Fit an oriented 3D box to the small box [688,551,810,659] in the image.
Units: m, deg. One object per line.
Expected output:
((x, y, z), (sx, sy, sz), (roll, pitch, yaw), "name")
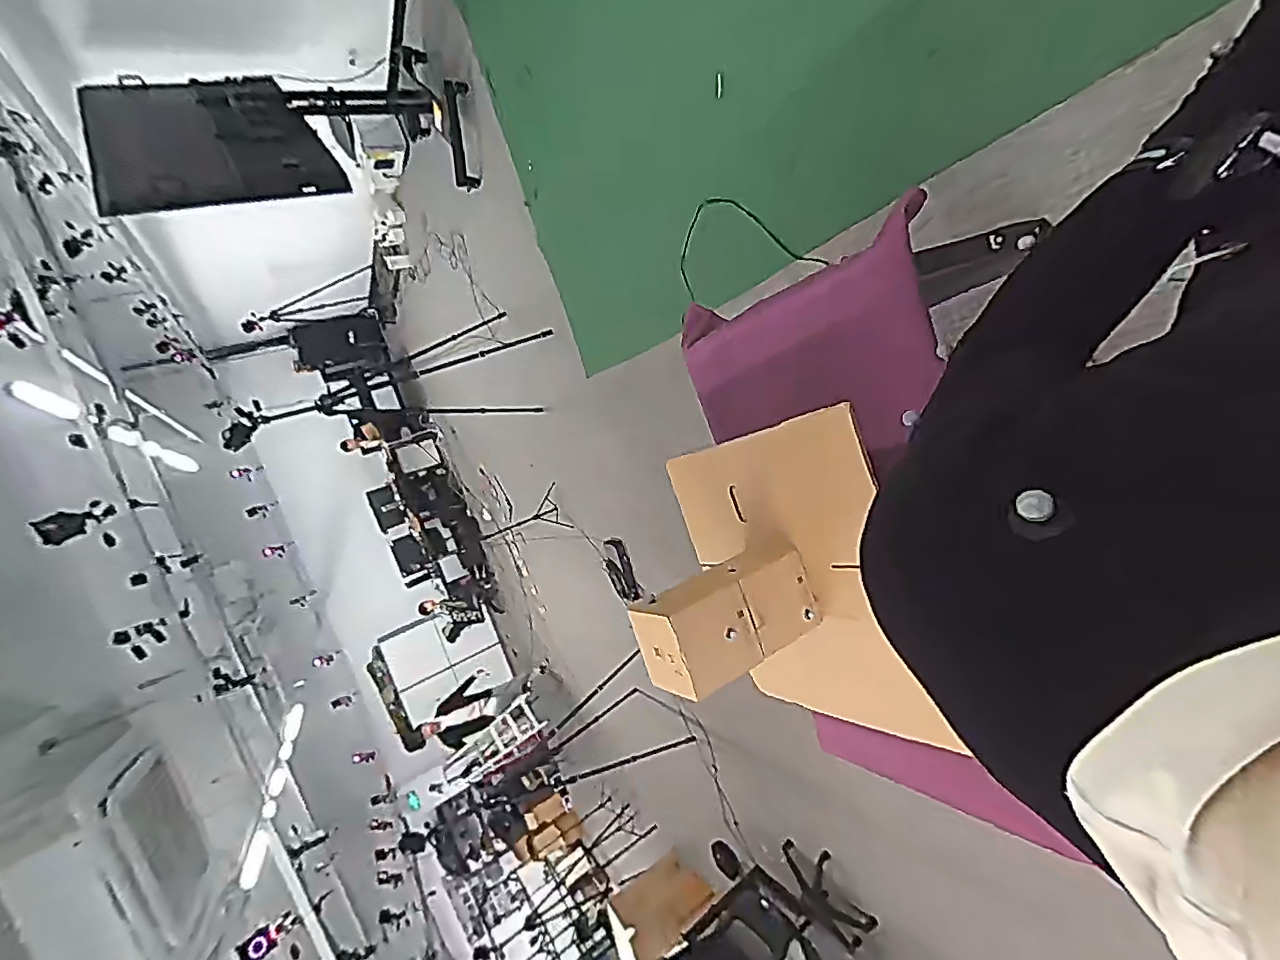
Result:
((0.236, 0.254, 1.145), (0.179, 0.176, 0.168), (-17, 93, 61), "small box")

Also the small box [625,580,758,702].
((0.100, 0.305, 1.068), (0.179, 0.176, 0.168), (-17, 93, 60), "small box")
